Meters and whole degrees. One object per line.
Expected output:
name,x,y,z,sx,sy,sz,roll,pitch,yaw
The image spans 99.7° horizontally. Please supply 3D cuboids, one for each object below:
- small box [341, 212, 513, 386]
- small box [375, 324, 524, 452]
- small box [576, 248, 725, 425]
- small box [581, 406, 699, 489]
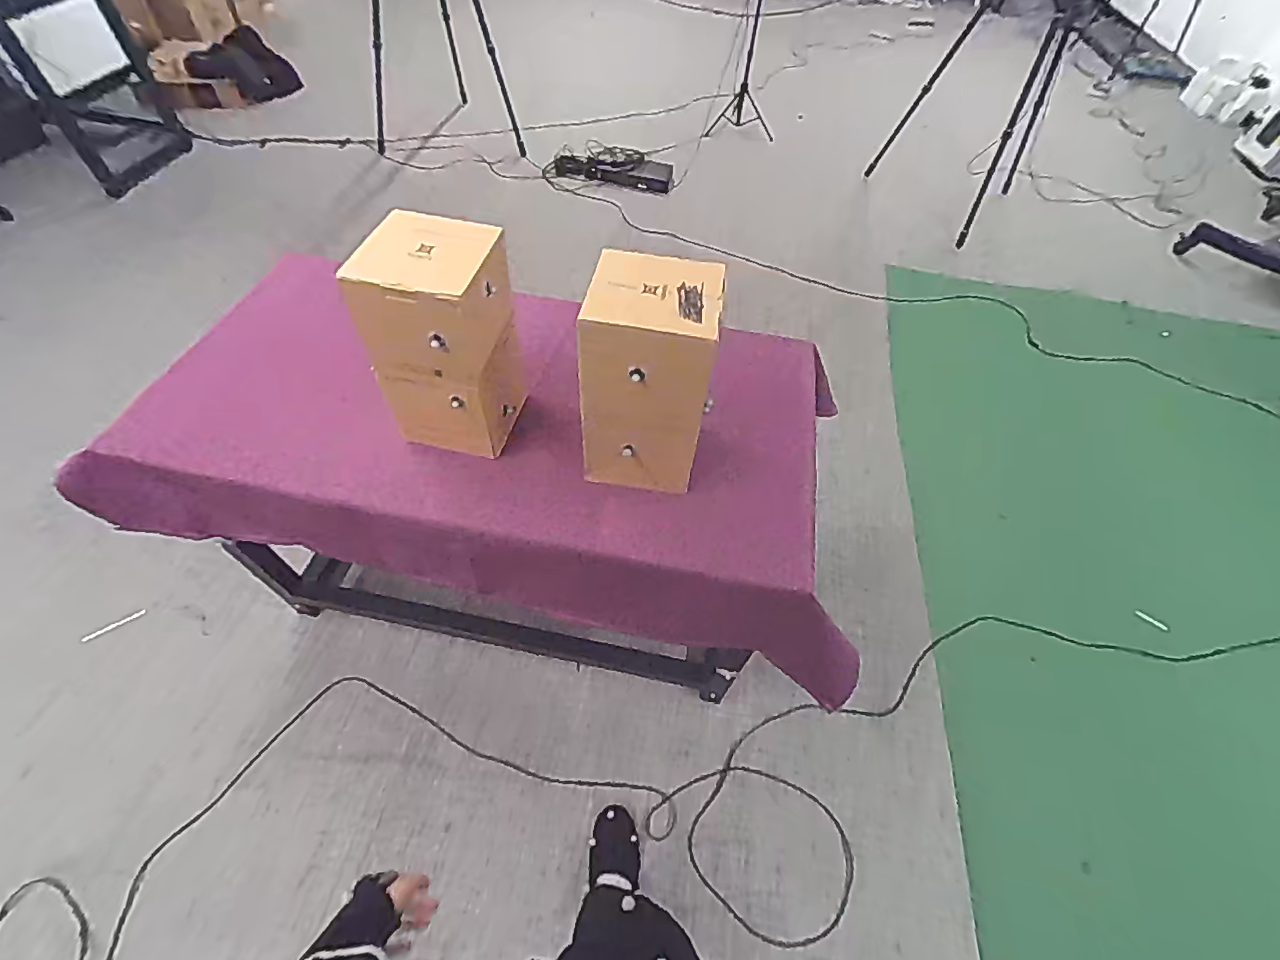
small box,-0.296,-0.264,0.803,0.168,0.176,0.179,11,52,2
small box,-0.314,-0.169,0.934,0.179,0.176,0.168,12,53,3
small box,0.015,-0.199,0.771,0.179,0.176,0.168,9,53,3
small box,0.006,-0.103,0.905,0.179,0.176,0.168,8,53,3
